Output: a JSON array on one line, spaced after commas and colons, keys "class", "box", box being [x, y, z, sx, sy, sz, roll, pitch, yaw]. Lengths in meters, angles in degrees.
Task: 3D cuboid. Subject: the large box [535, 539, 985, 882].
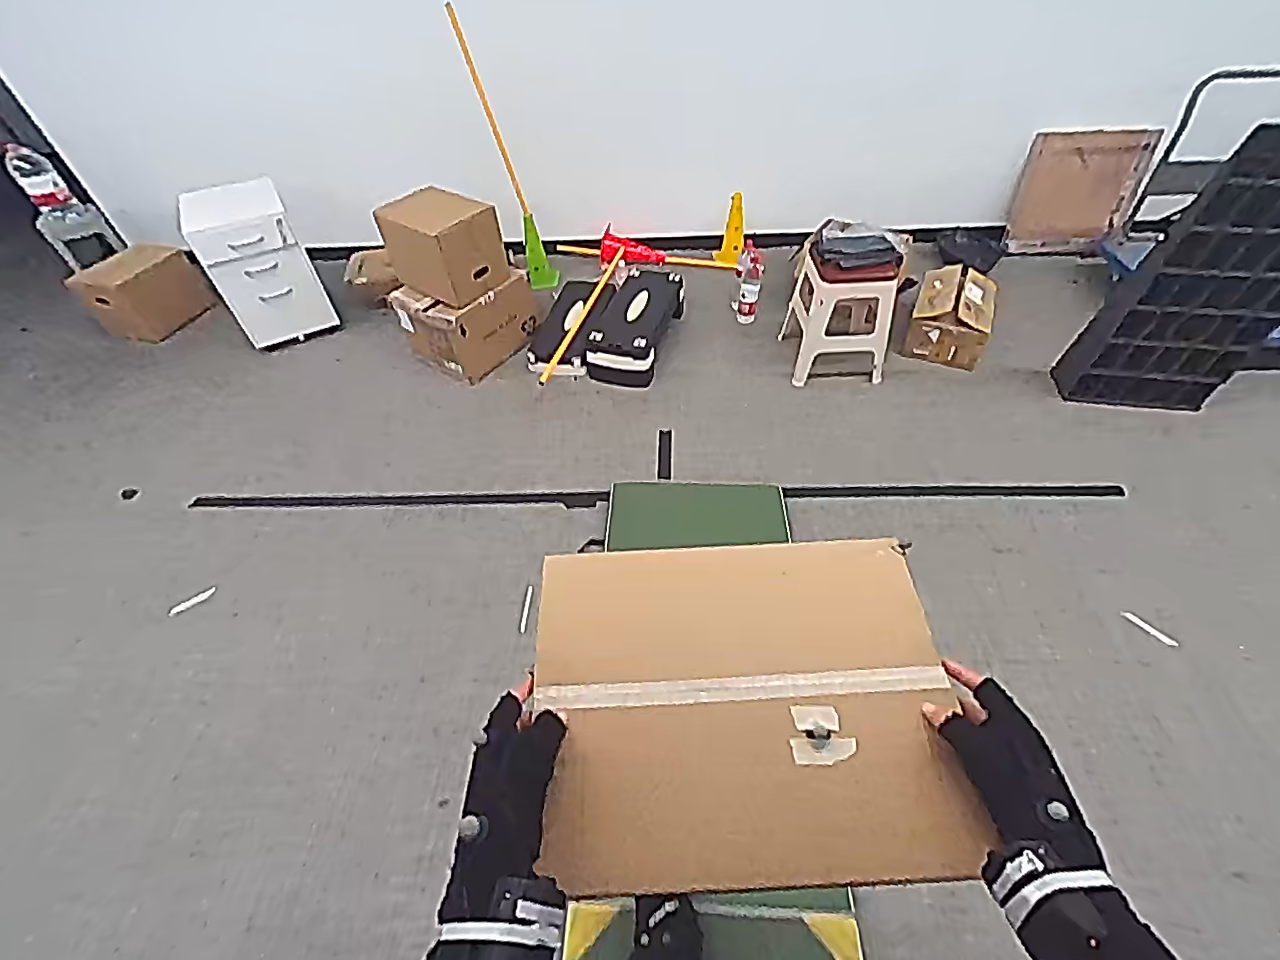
[{"class": "large box", "box": [0.099, 0.292, 0.673, 0.408, 0.320, 0.320, -3, 55, 0]}]
